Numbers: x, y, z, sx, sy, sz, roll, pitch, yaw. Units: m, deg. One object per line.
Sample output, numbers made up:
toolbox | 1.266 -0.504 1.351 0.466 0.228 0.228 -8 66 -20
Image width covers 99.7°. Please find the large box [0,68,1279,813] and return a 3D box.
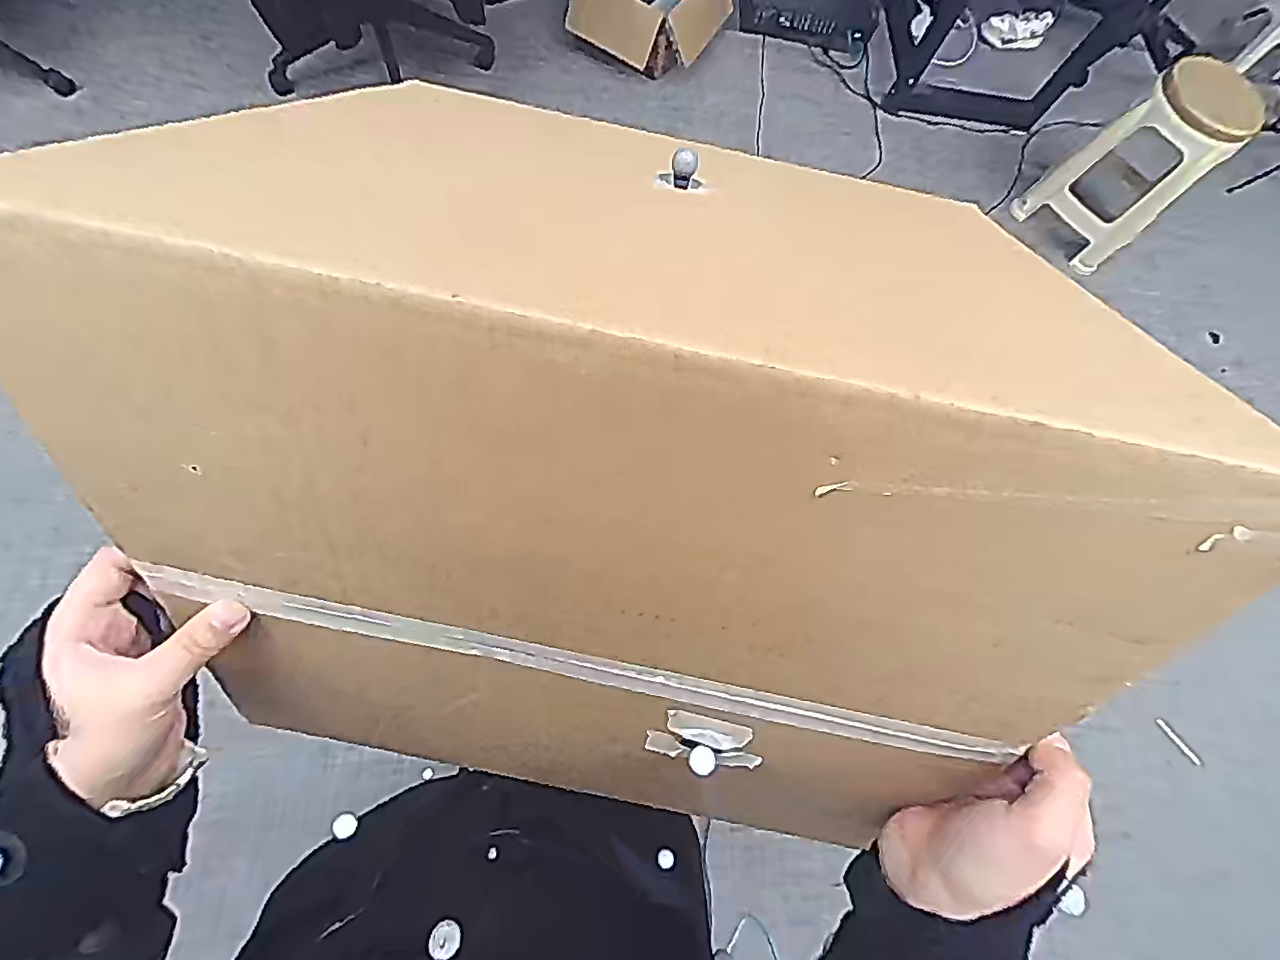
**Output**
large box | 0.008 -0.041 0.349 0.408 0.320 0.320 11 41 0
